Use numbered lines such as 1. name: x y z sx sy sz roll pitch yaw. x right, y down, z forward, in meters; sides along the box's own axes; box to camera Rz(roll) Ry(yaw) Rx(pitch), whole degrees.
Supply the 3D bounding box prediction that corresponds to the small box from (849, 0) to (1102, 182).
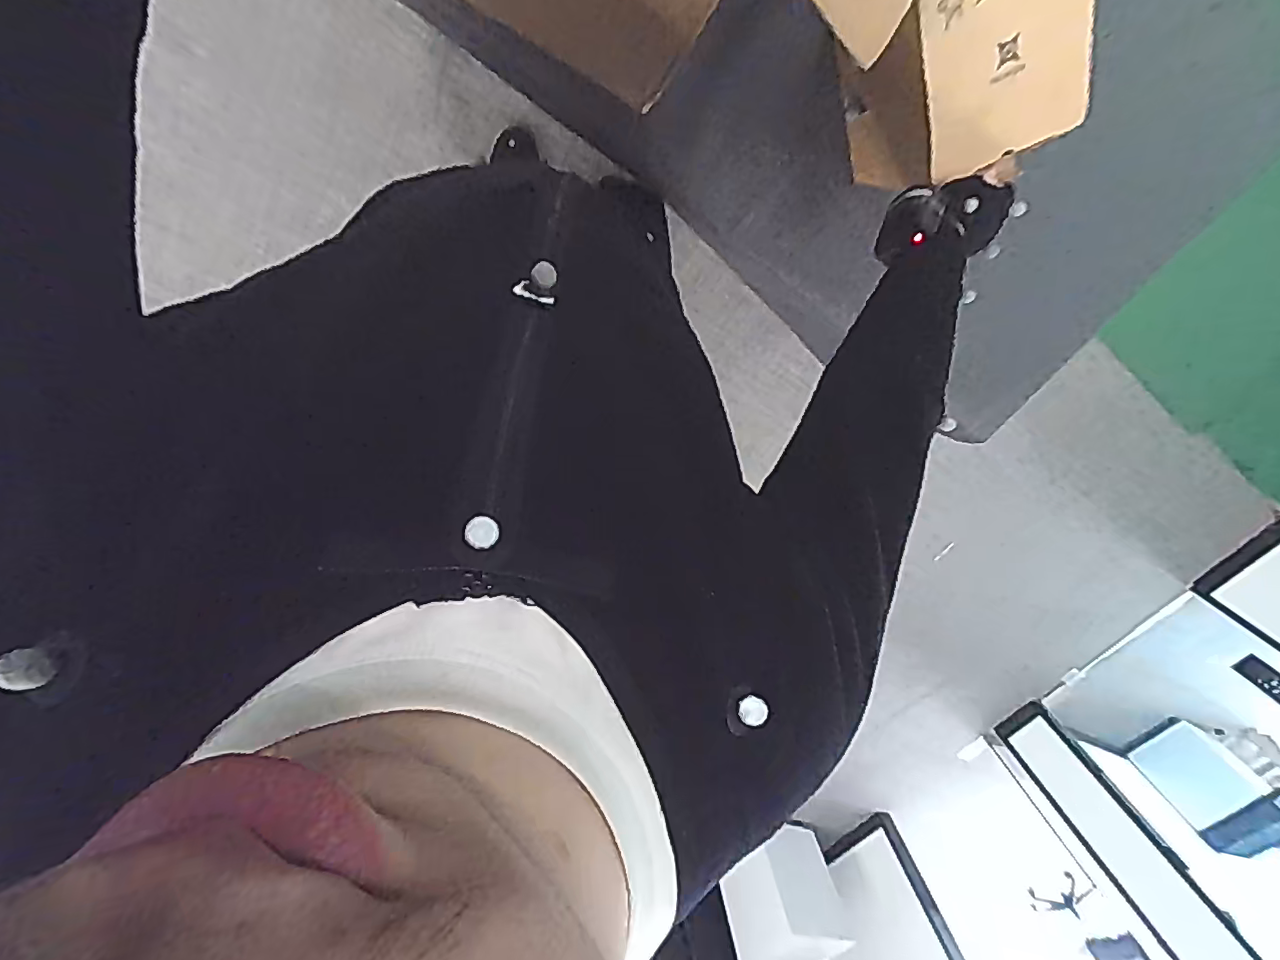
1. small box: 0.345 -0.453 0.580 0.168 0.176 0.179 -21 125 6
